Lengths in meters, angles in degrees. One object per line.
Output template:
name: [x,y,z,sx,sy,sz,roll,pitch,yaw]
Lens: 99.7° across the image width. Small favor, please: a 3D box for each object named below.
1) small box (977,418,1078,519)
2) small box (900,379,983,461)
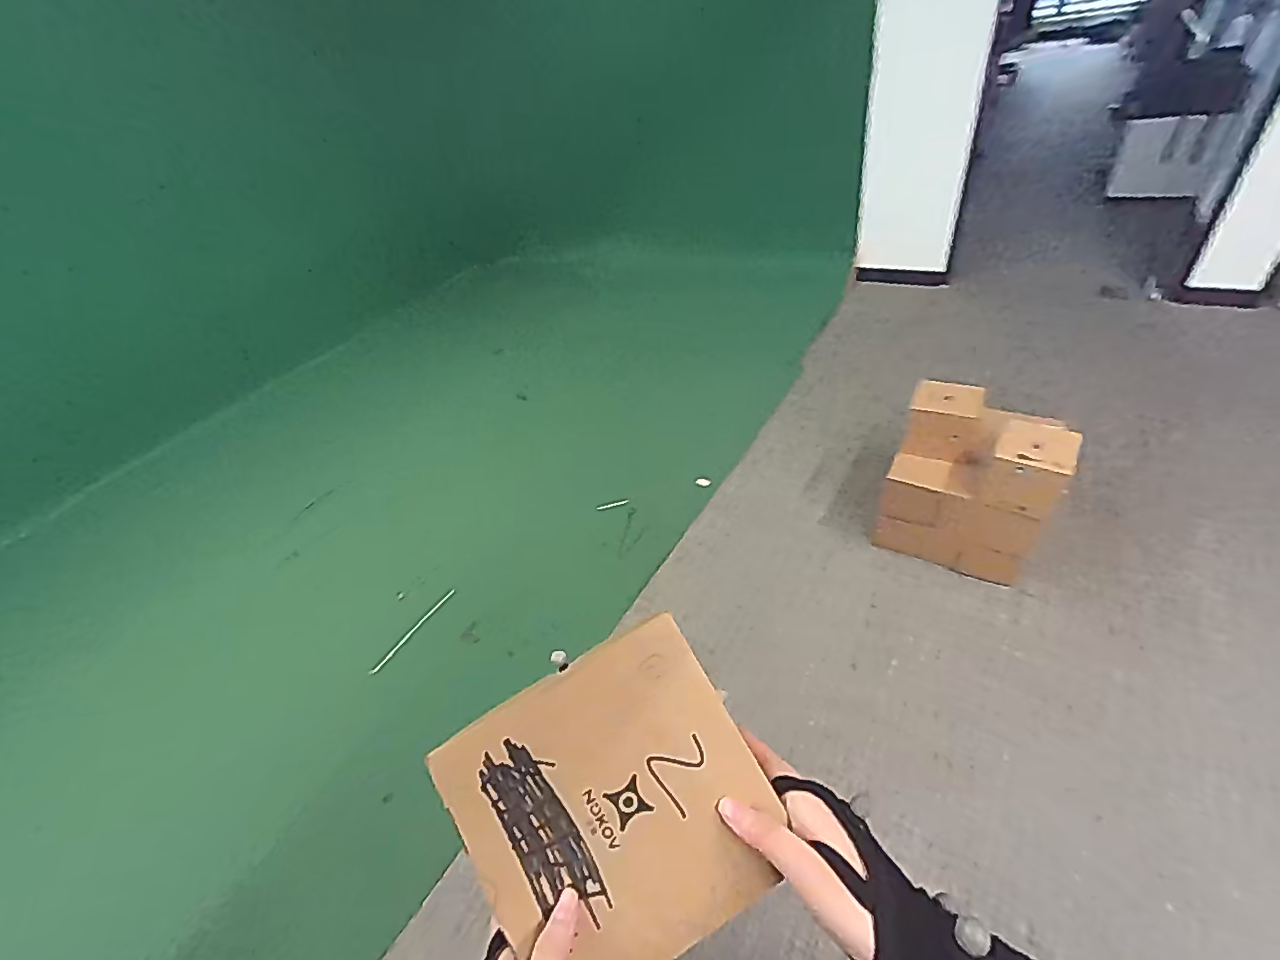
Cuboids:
small box: [1.017,-0.031,1.428,0.168,0.176,0.179,21,51,32]
small box: [0.903,-0.178,1.626,0.179,0.176,0.168,15,47,30]
